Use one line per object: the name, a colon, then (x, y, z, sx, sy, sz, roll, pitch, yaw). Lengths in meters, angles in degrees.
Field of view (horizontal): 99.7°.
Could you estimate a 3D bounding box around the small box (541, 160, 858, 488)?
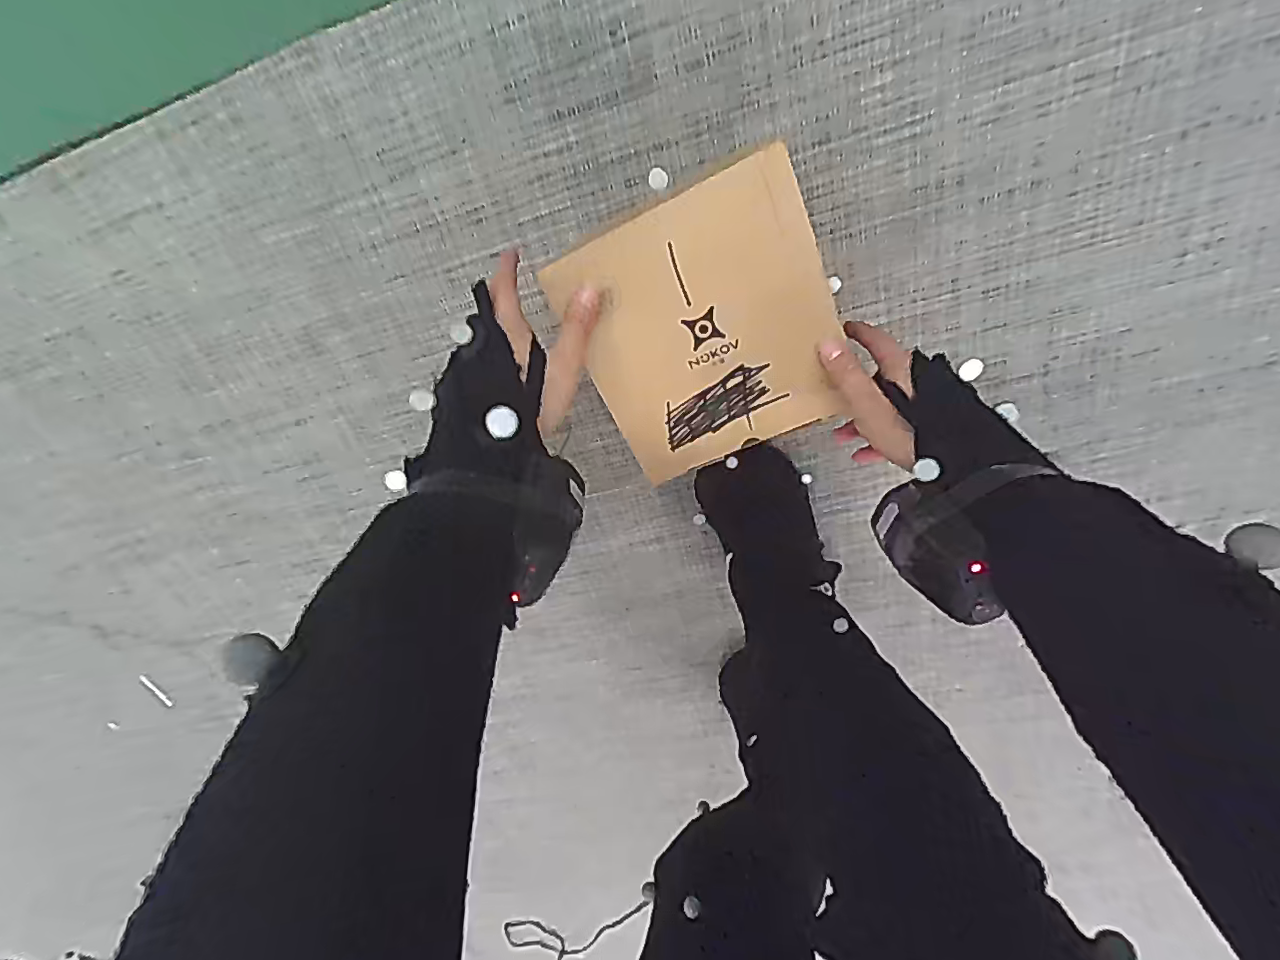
small box: (0.050, -0.128, 0.431, 0.168, 0.176, 0.179, -22, 115, 15)
